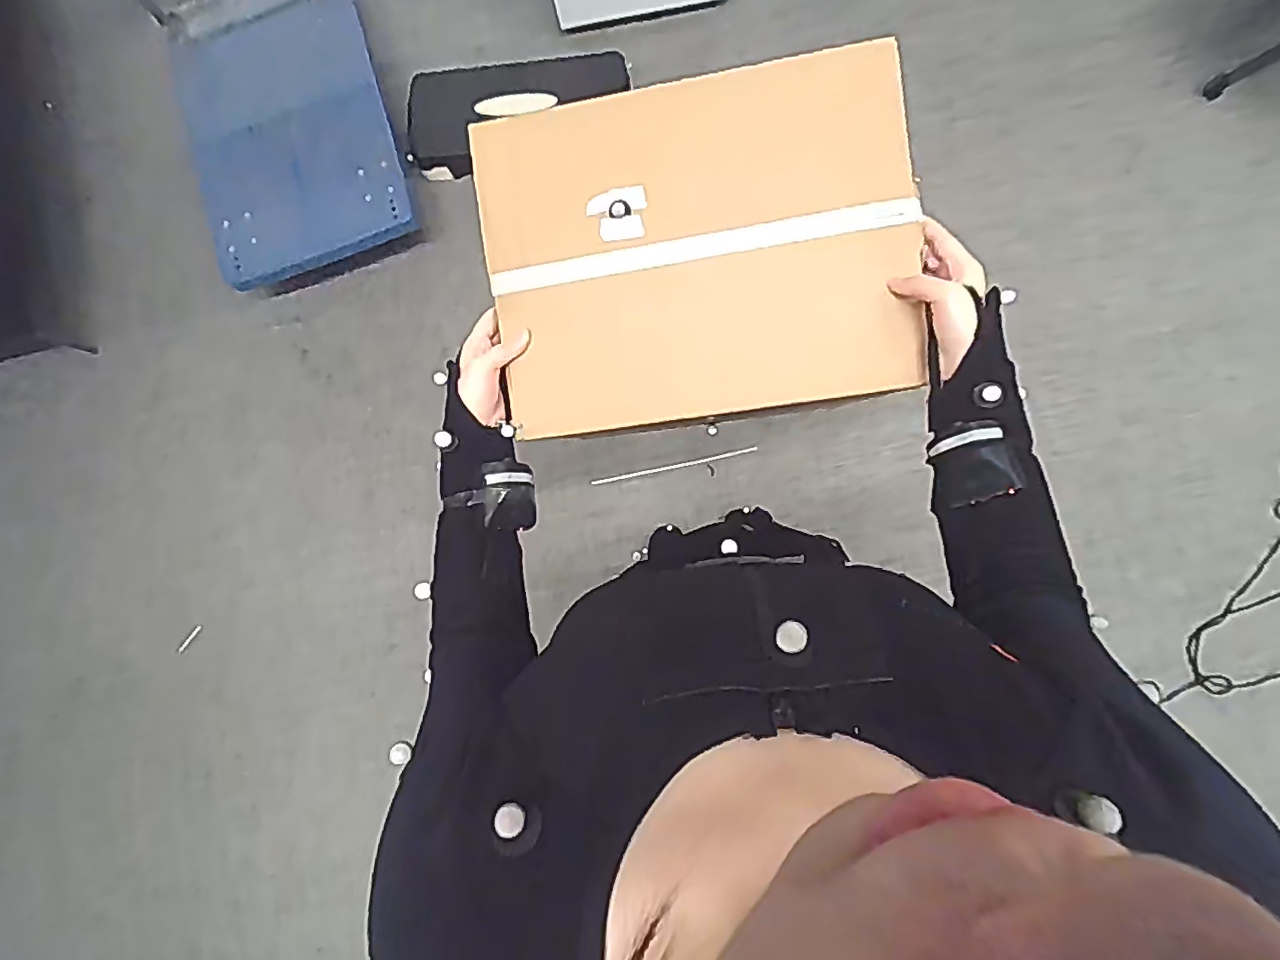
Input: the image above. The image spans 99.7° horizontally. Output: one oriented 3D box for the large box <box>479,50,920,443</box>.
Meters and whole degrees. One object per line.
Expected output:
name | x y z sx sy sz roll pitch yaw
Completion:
large box | 0.071 -0.230 0.678 0.408 0.320 0.320 -8 93 8
